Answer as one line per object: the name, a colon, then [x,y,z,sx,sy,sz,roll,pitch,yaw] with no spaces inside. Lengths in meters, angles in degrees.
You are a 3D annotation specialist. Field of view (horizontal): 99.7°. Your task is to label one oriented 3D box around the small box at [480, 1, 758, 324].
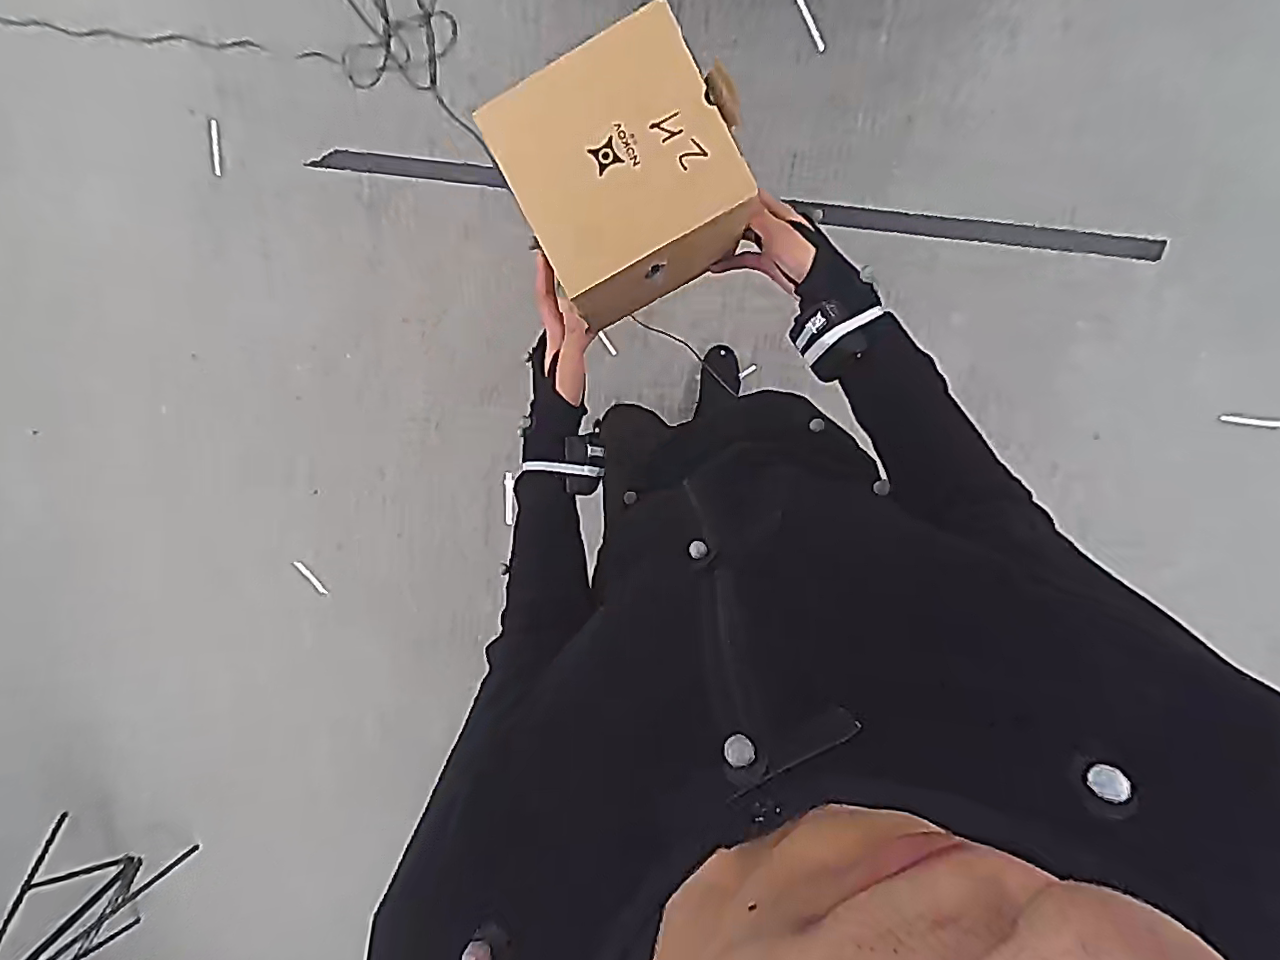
small box: [-0.013,-0.268,0.509,0.179,0.176,0.168,-27,94,4]
